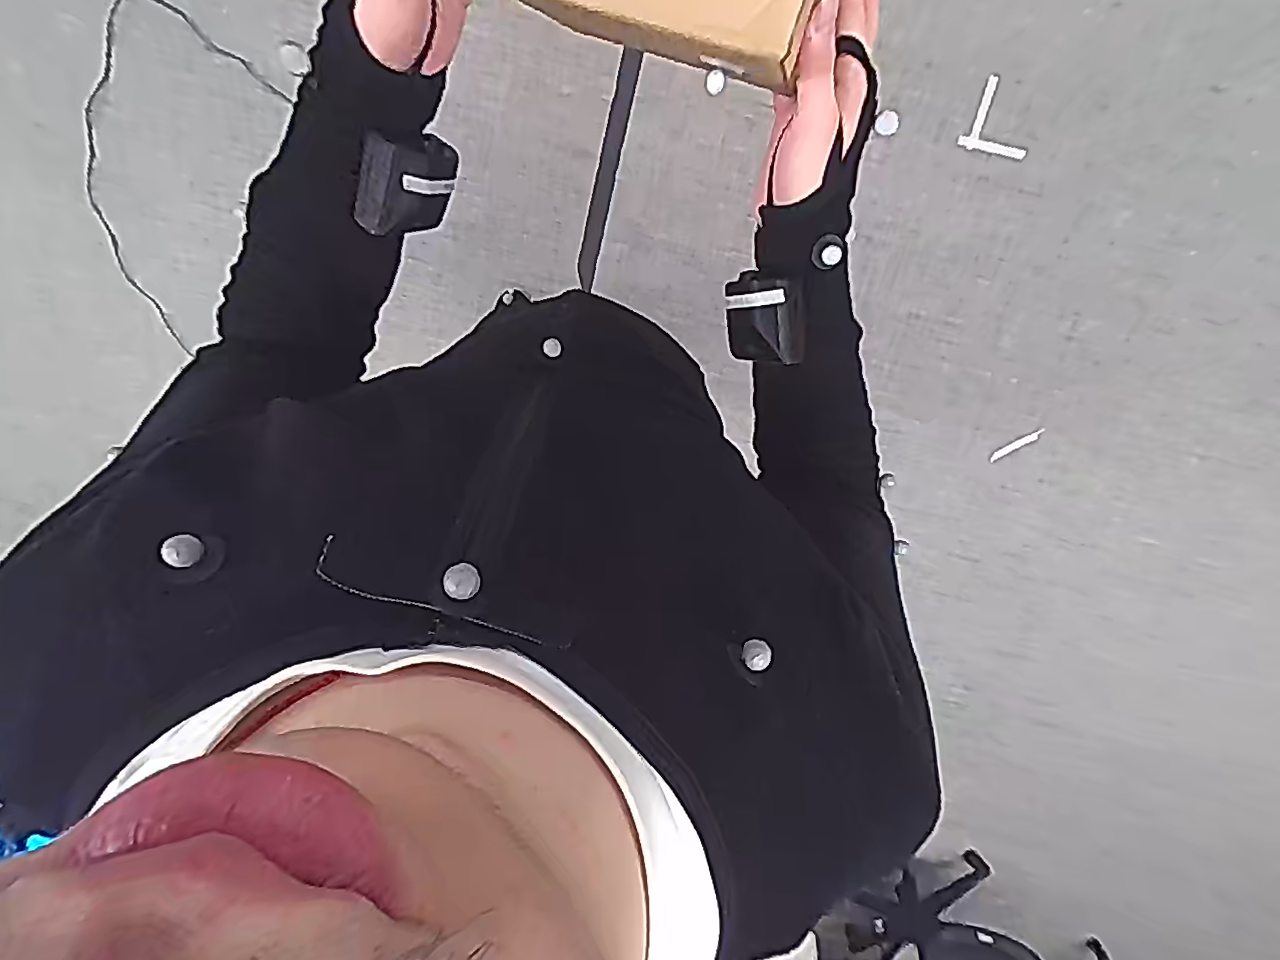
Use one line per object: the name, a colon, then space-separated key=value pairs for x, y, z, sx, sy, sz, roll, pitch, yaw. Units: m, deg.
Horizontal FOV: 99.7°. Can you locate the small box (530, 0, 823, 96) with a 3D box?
small box: x=0.029 y=-0.325 z=0.276 sx=0.176 sy=0.179 sz=0.168 roll=19 pitch=123 yaw=2
